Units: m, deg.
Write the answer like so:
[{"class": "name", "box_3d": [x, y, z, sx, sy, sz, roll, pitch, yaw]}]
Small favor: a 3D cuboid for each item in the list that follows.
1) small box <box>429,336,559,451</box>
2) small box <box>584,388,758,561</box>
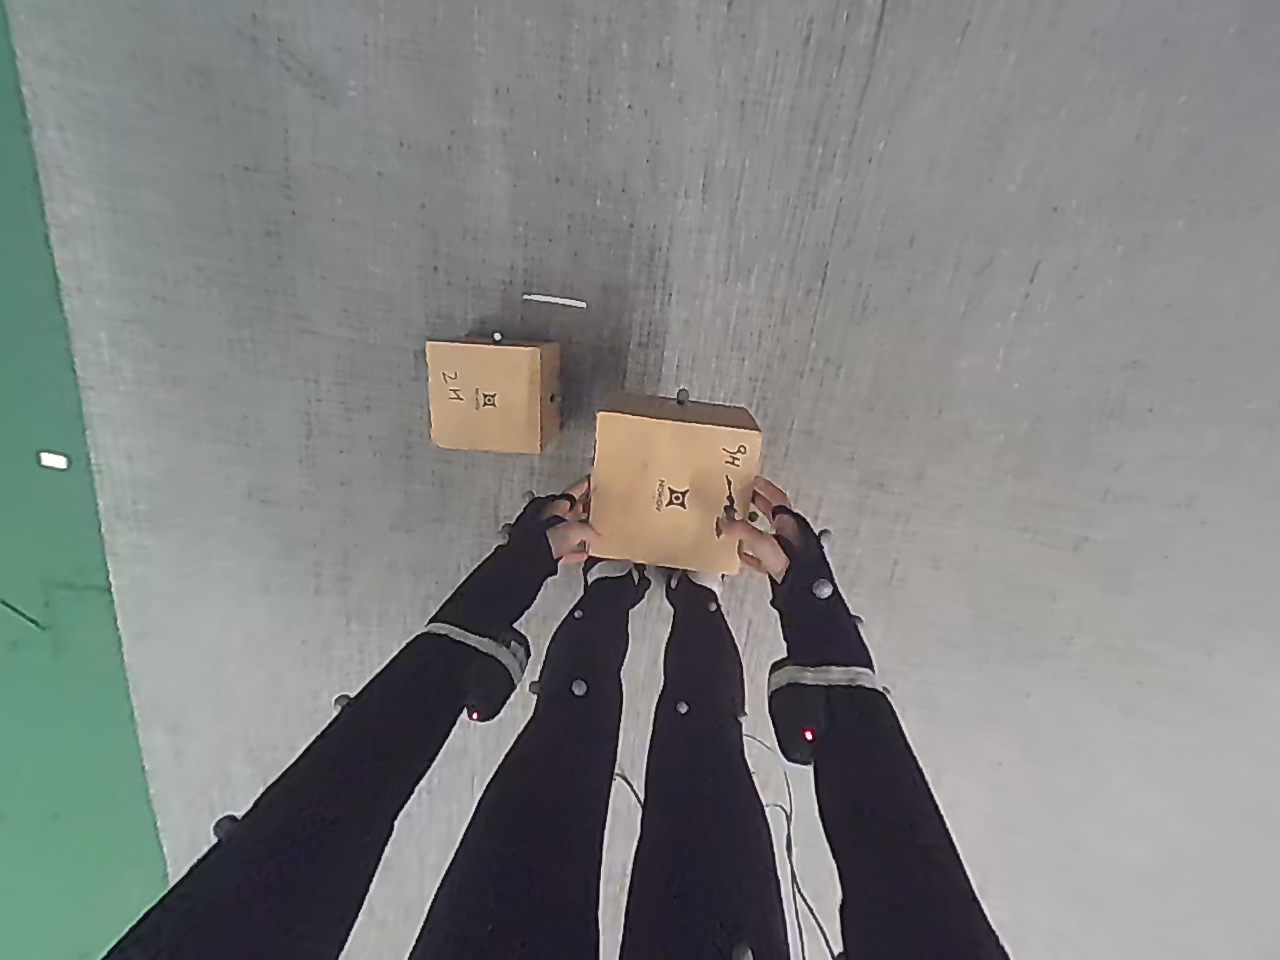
[{"class": "small box", "box_3d": [-0.235, -0.153, 0.917, 0.179, 0.176, 0.168, 4, 107, 2]}, {"class": "small box", "box_3d": [0.039, -0.019, 0.676, 0.179, 0.176, 0.168, 8, 107, 4]}]
